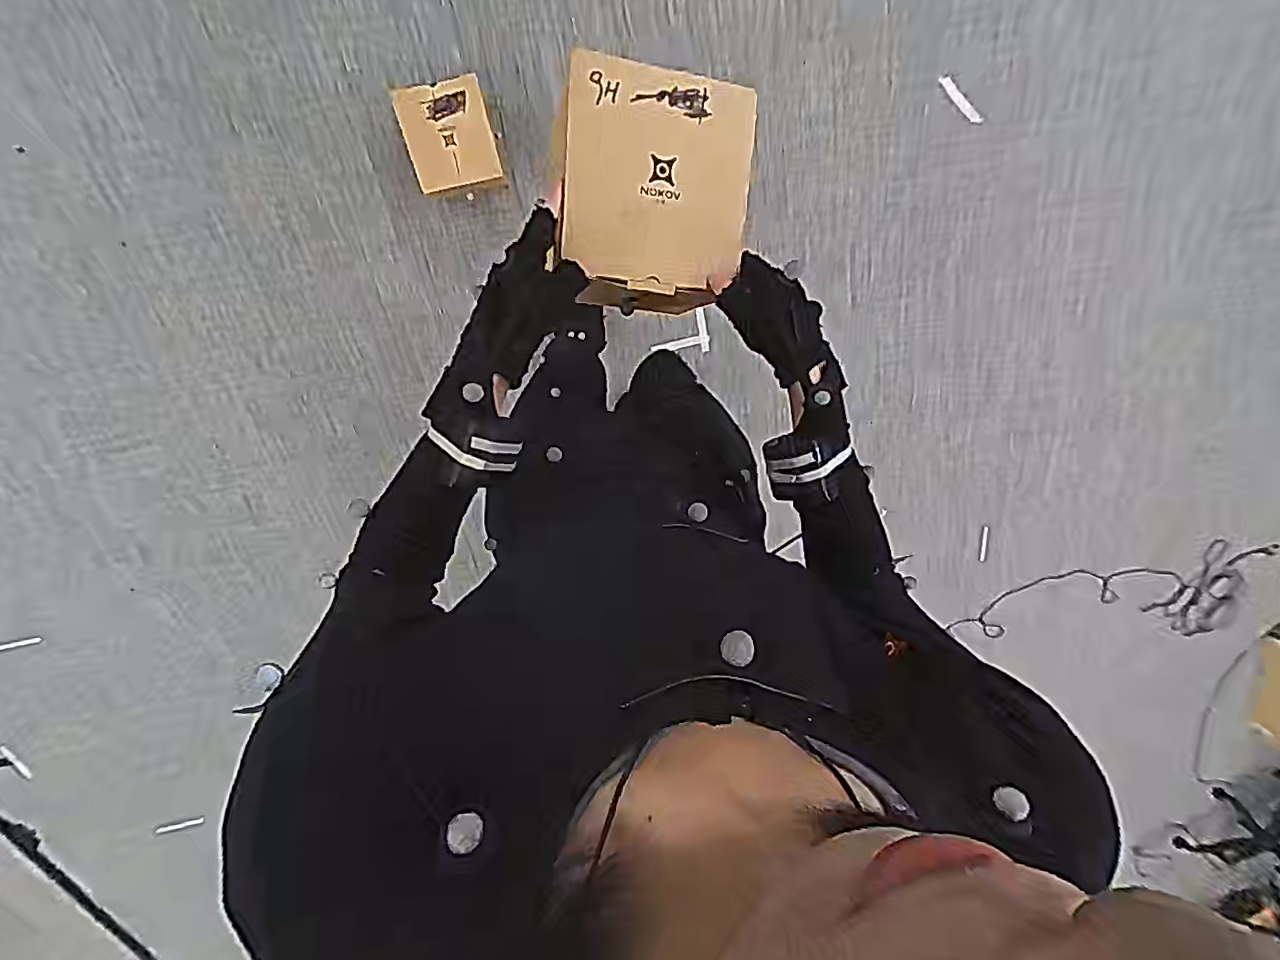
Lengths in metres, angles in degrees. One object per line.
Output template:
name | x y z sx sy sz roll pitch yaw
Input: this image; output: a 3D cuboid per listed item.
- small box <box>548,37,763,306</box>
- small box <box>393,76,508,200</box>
small box | 0.000 -0.276 0.535 0.168 0.176 0.179 2 101 -15
small box | -0.376 -0.689 1.108 0.168 0.176 0.179 -14 116 -3
